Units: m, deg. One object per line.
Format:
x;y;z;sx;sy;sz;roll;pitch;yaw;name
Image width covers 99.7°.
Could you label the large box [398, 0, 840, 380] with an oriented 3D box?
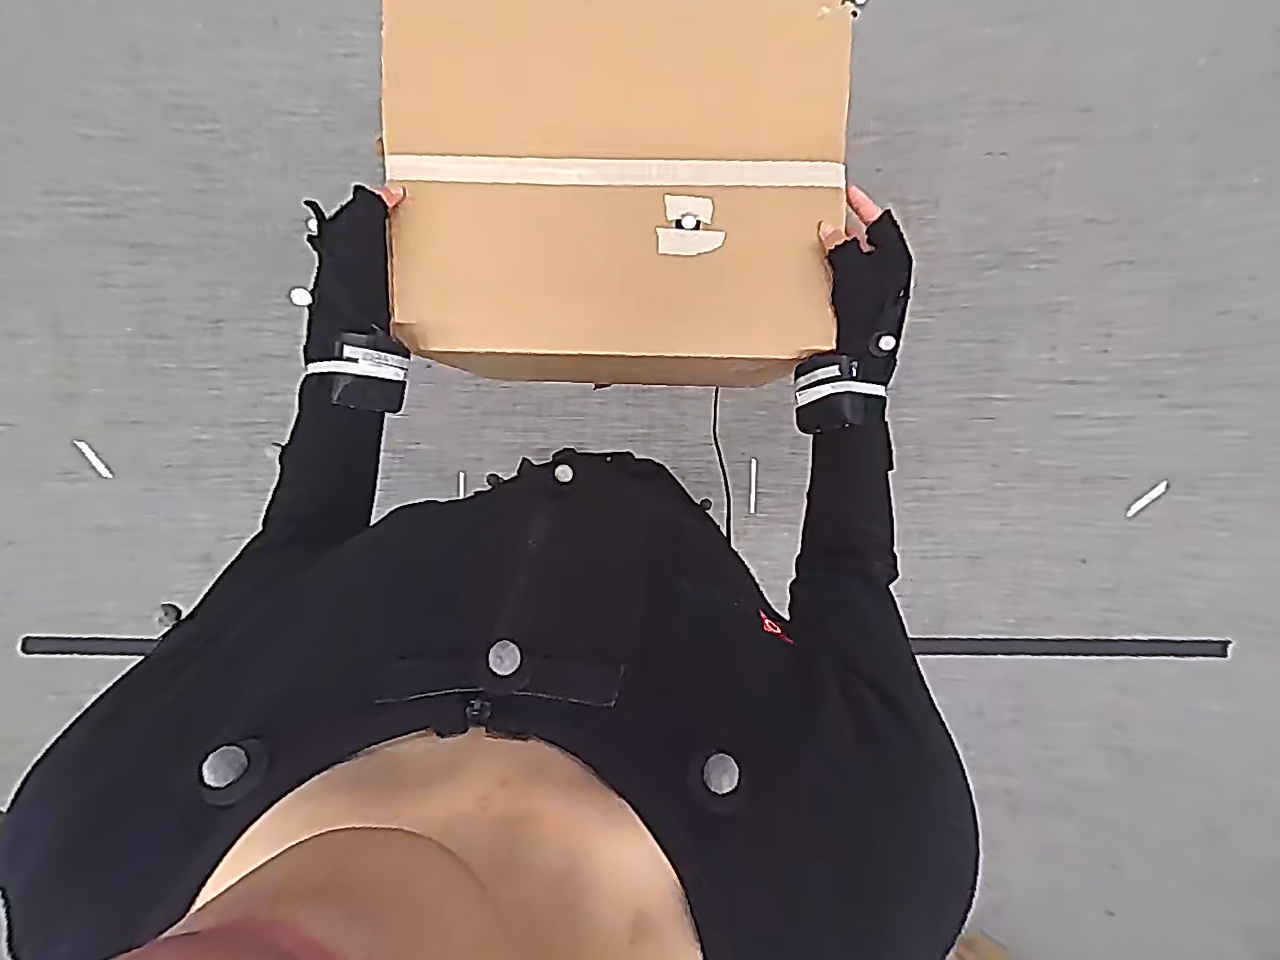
-0.022;-0.290;0.644;0.408;0.320;0.320;1;96;0;large box
